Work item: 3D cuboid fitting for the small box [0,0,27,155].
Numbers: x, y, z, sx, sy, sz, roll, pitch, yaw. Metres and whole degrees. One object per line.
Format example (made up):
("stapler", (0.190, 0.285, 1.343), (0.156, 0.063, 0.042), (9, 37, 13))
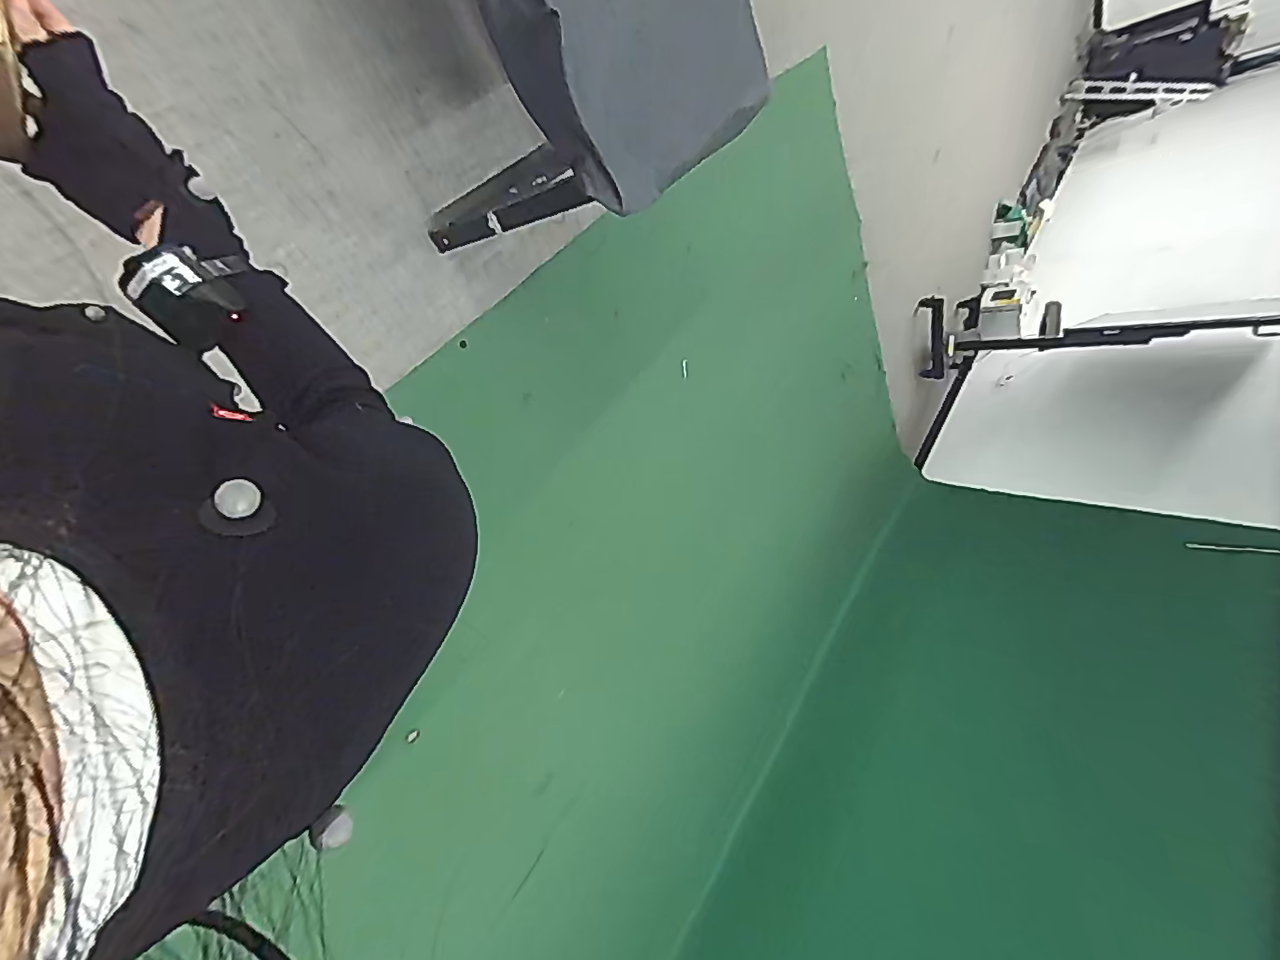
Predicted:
("small box", (-0.470, -0.320, 0.294), (0.168, 0.176, 0.179), (-8, 98, -45))
